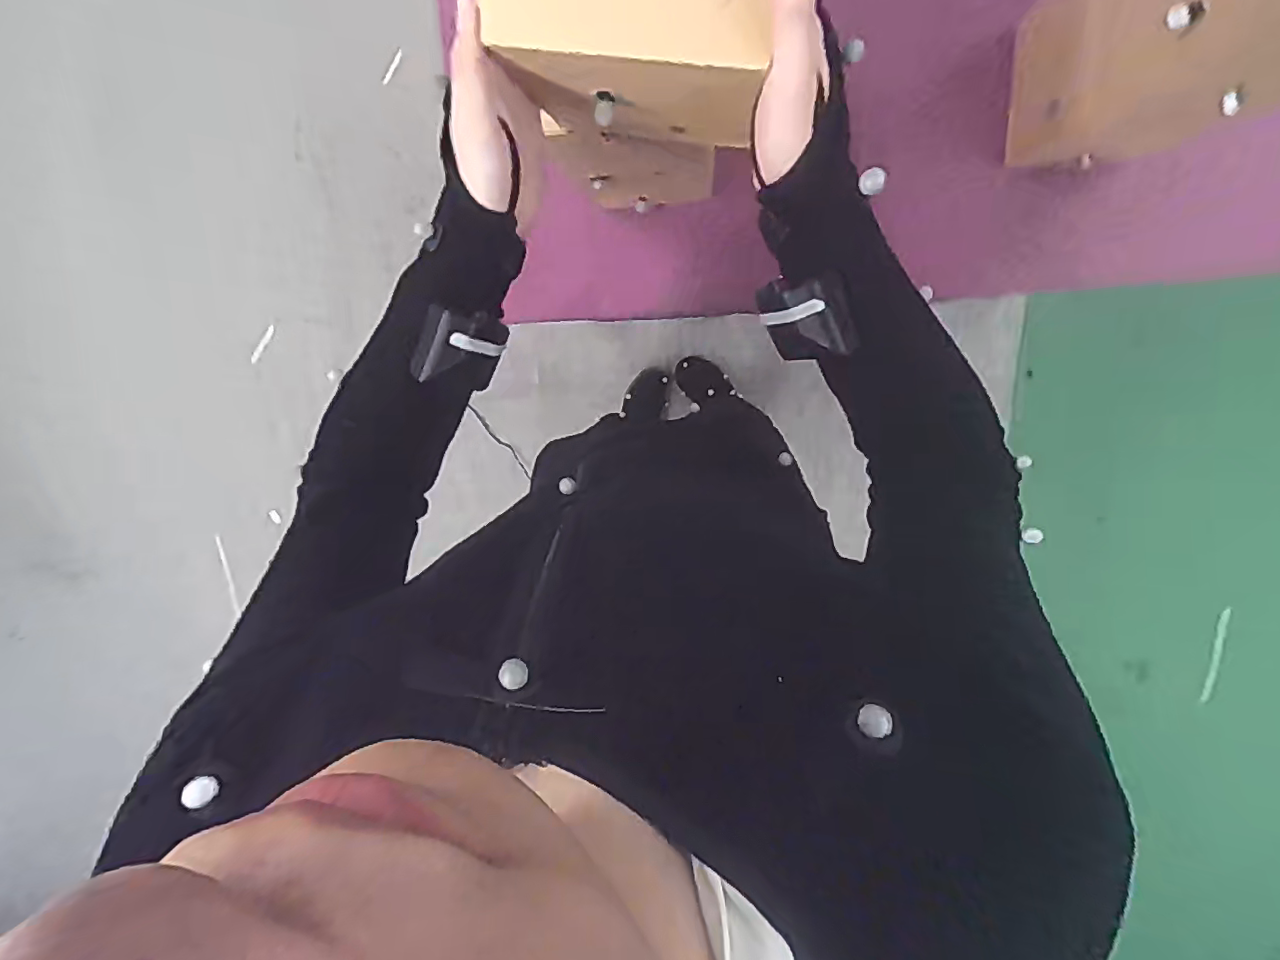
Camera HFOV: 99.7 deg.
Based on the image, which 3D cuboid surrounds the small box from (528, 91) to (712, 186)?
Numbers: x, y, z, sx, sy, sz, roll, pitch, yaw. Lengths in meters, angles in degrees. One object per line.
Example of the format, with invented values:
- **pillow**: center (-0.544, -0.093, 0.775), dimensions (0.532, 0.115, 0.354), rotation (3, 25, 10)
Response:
- **small box**: center (-0.012, -0.411, 0.539), dimensions (0.168, 0.176, 0.179), rotation (-2, 102, 7)

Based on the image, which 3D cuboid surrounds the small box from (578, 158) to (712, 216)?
- **small box**: center (0.005, -0.459, 0.695), dimensions (0.168, 0.176, 0.179), rotation (-2, 104, 7)

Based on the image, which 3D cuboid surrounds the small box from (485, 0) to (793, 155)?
- **small box**: center (0.016, -0.325, 0.339), dimensions (0.168, 0.176, 0.179), rotation (10, 109, 5)
